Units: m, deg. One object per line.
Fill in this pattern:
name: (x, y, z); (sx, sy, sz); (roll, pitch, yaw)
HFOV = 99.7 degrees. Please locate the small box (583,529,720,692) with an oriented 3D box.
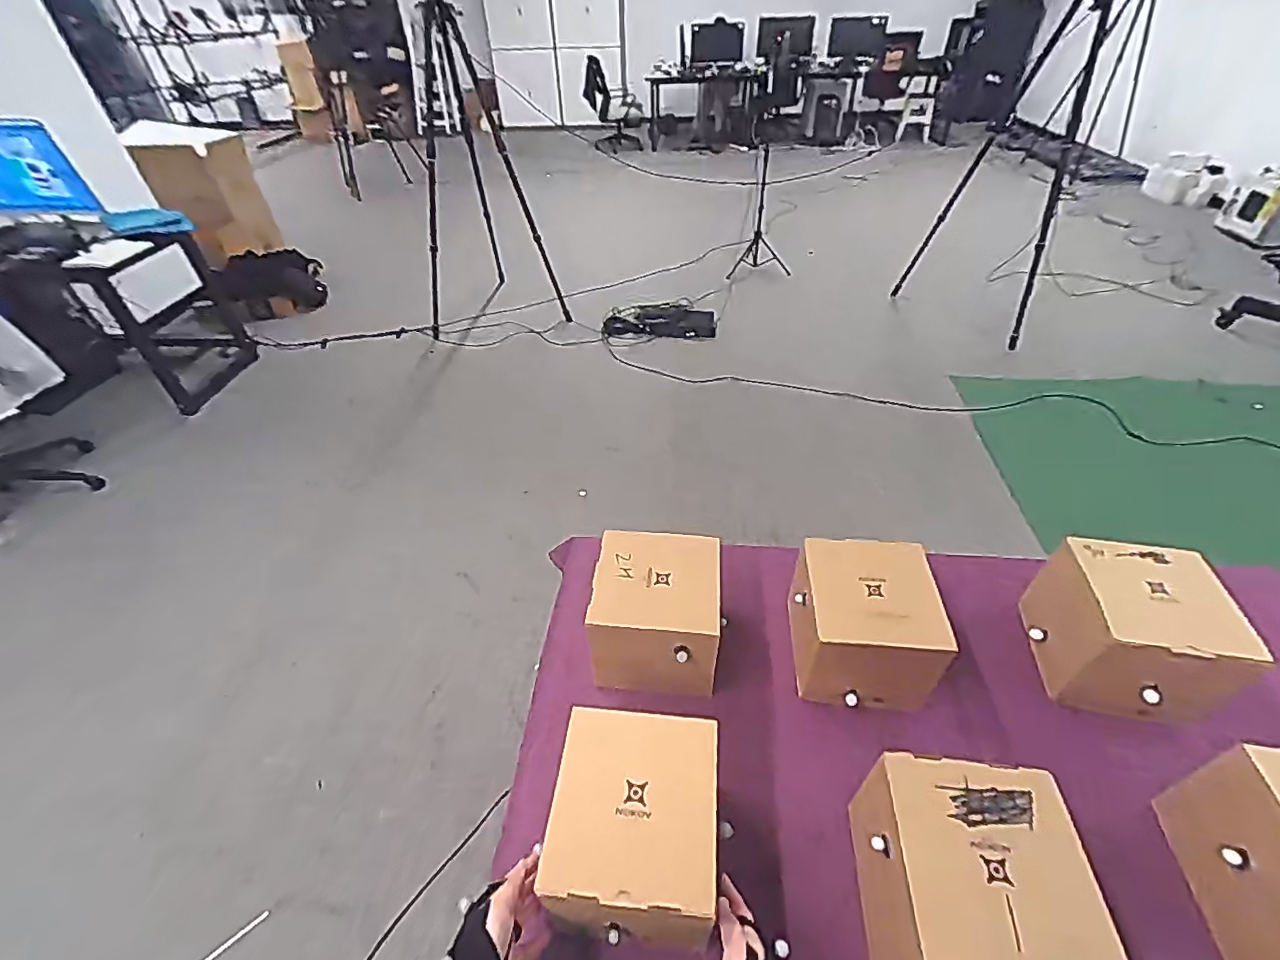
small box: (0.024, 0.194, 0.799); (0.179, 0.176, 0.168); (3, 42, 6)

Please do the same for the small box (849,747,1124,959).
small box: (0.322, 0.402, 0.547); (0.168, 0.176, 0.179); (3, 42, 7)

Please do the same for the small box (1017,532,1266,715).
small box: (0.667, 0.200, 0.751); (0.168, 0.176, 0.179); (7, 44, 10)

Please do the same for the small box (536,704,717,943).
small box: (-0.005, 0.377, 0.599); (0.168, 0.176, 0.179); (3, 43, 6)
